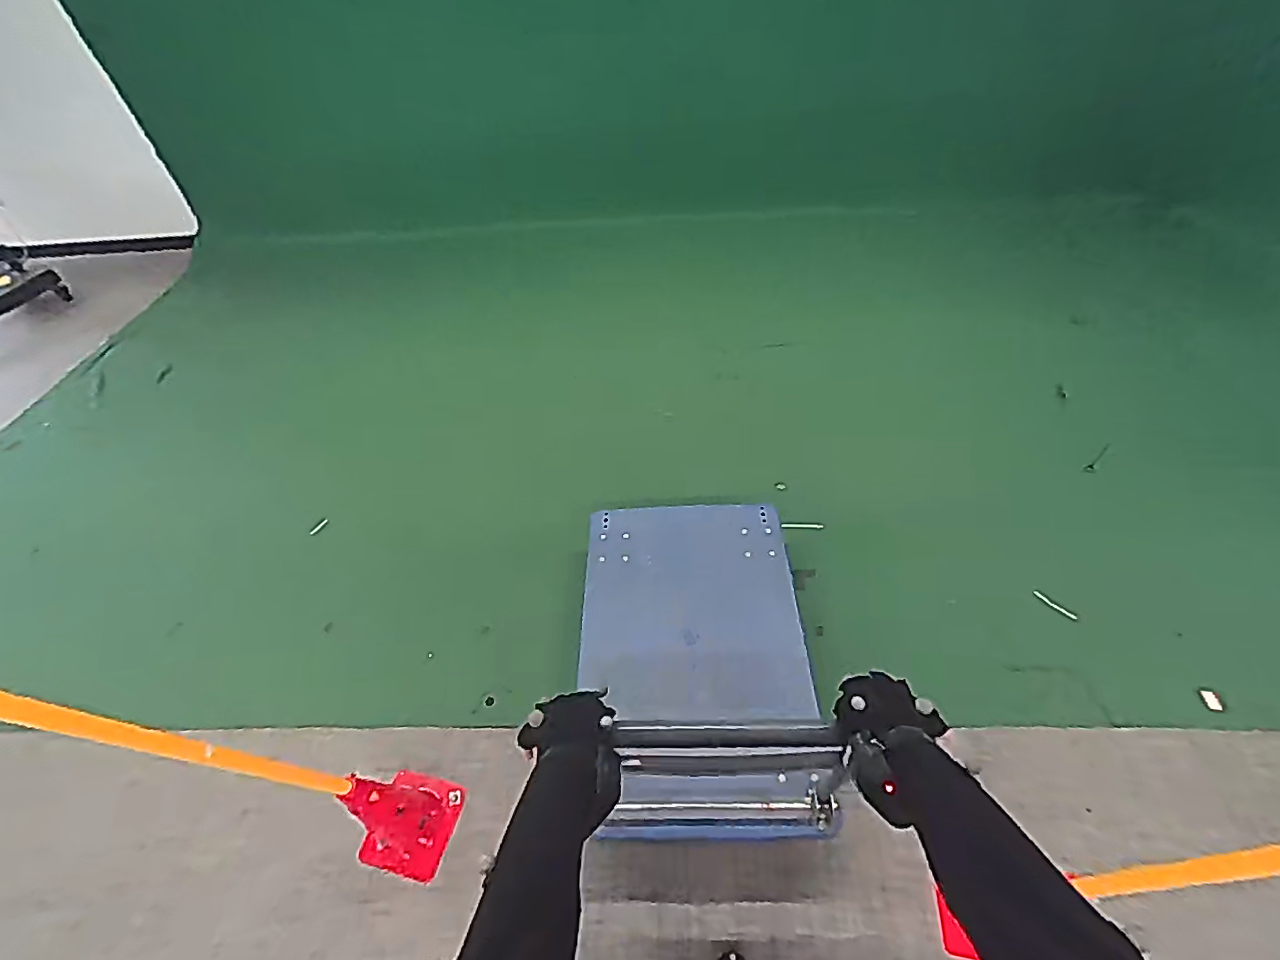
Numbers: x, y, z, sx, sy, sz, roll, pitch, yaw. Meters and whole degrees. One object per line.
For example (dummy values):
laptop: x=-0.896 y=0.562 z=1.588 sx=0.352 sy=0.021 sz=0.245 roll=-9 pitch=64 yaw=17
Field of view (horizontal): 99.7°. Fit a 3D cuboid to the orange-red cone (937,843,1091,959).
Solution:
orange-red cone: x=0.724 y=0.780 z=1.004 sx=0.198 sy=0.360 sz=0.199 roll=6 pitch=50 yaw=11
